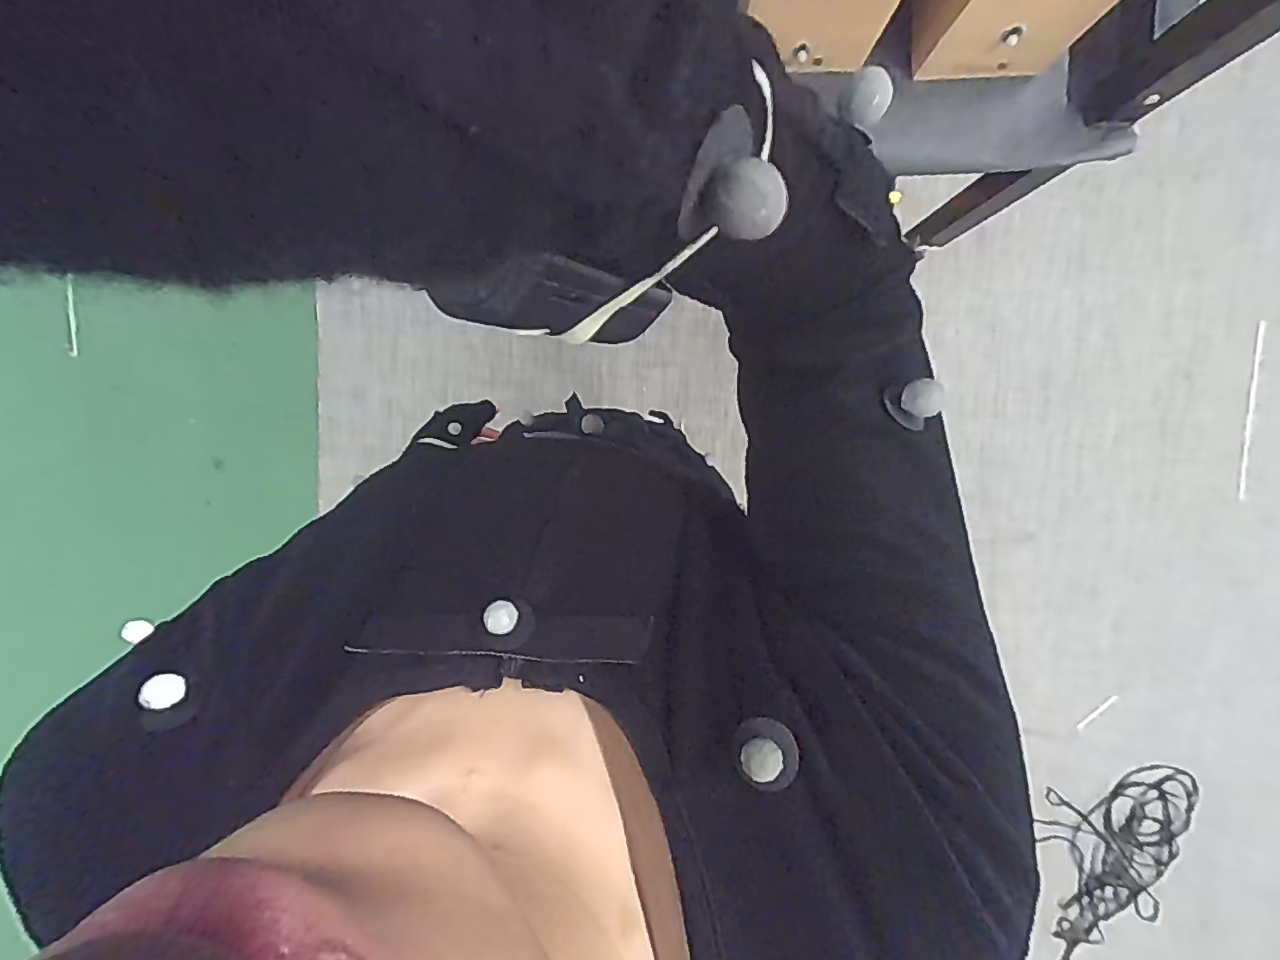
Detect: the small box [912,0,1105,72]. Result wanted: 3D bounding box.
[{"bbox_3d":[0.430,-0.600,0.612,0.168,0.176,0.179,-2,95,0],"label":"small box"}]
